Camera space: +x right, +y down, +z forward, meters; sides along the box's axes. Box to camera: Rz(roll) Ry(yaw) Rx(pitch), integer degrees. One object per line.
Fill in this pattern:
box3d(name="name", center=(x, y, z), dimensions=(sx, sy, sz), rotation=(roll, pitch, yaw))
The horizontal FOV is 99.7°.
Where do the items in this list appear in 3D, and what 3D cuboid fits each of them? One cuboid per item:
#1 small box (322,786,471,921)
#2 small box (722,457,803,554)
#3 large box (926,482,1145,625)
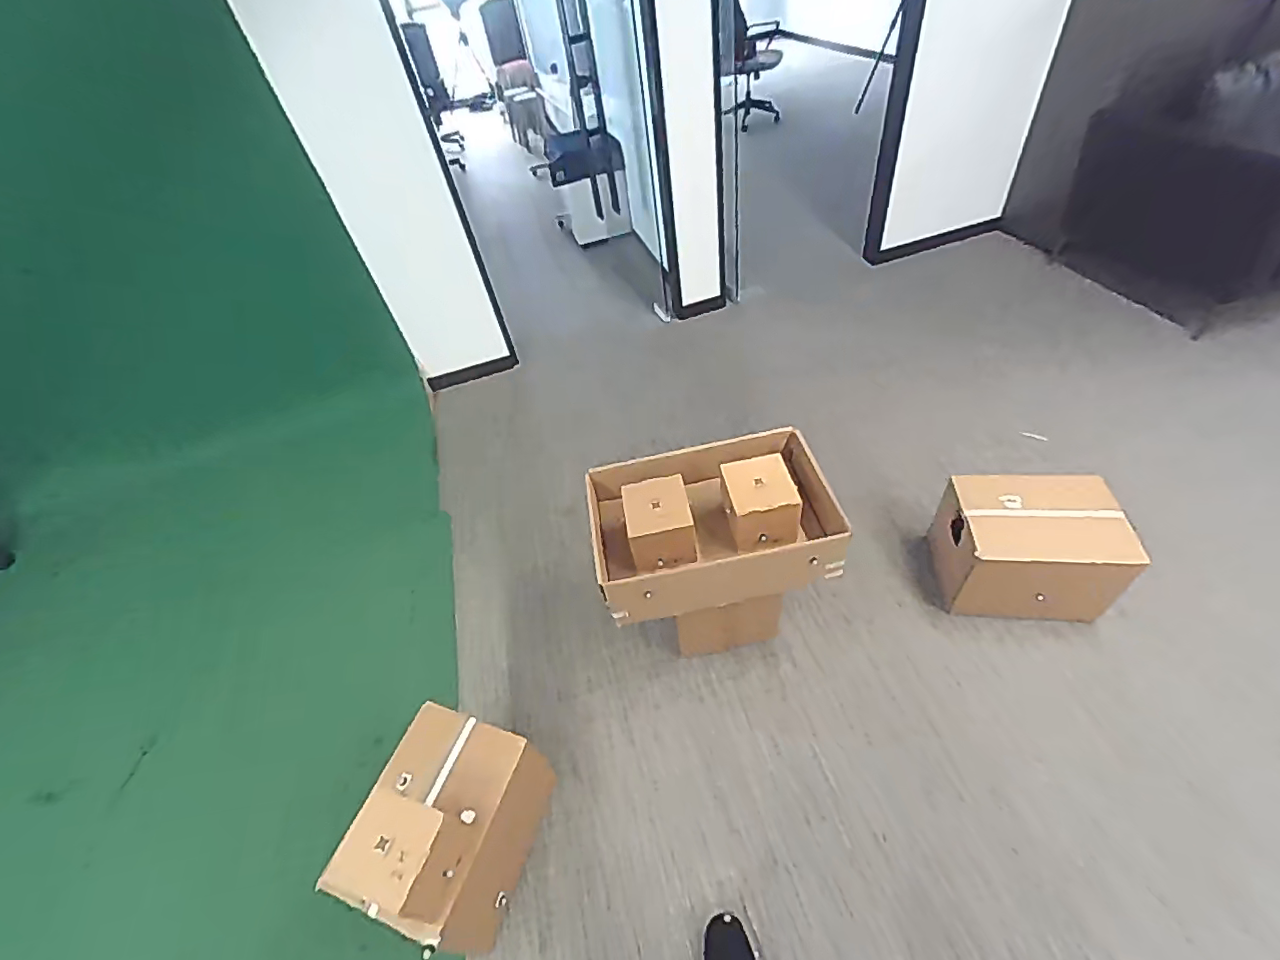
box3d(name="small box", center=(-0.470, 0.742, 1.070), dimensions=(0.179, 0.176, 0.168), rotation=(10, 49, 17))
box3d(name="small box", center=(0.315, 0.068, 1.427), dimensions=(0.168, 0.176, 0.179), rotation=(-11, 47, 0))
box3d(name="large box", center=(1.139, 0.221, 1.620), dimensions=(0.408, 0.320, 0.320), rotation=(0, 47, 11))
